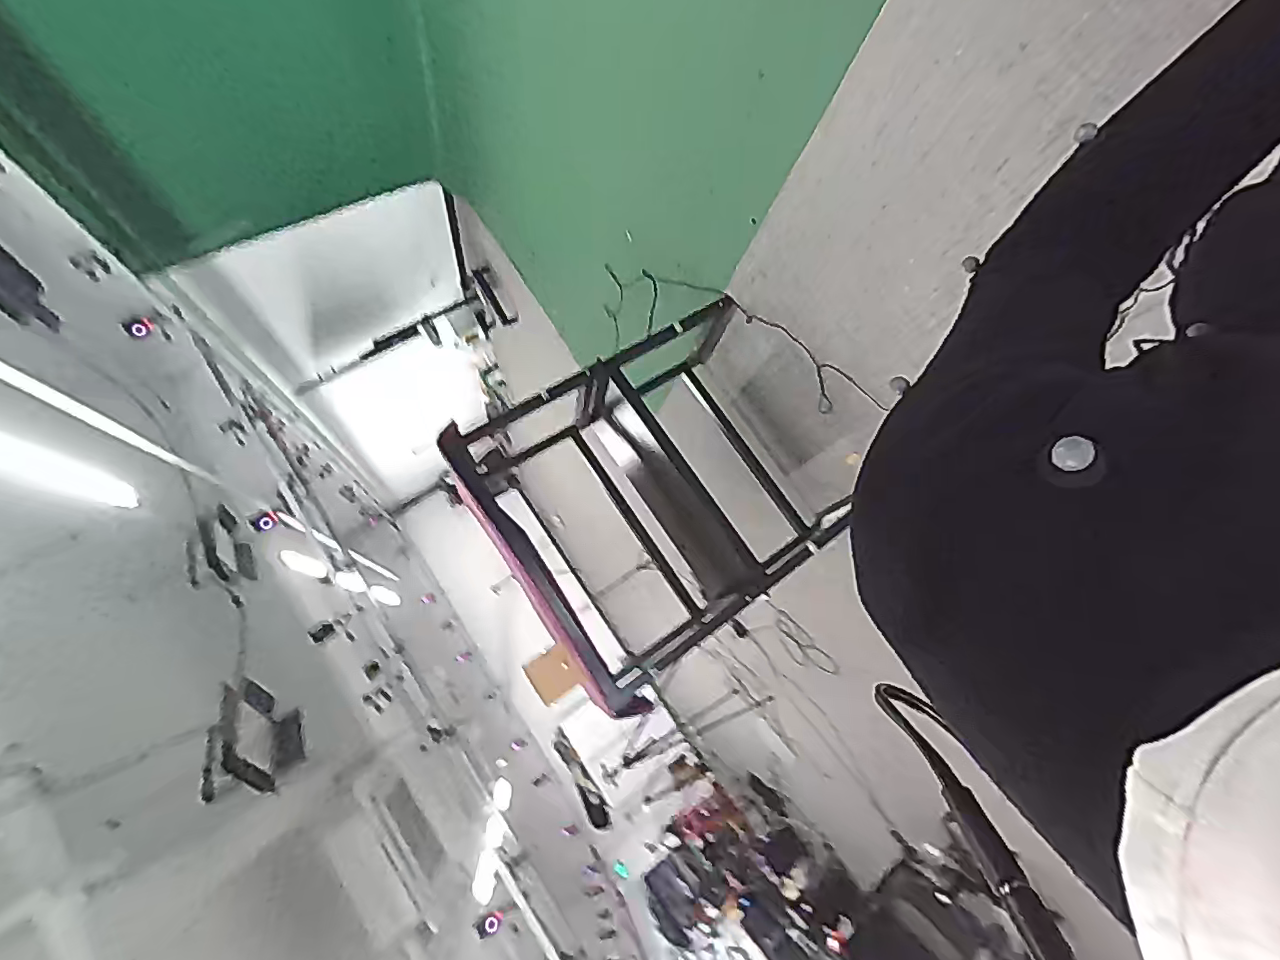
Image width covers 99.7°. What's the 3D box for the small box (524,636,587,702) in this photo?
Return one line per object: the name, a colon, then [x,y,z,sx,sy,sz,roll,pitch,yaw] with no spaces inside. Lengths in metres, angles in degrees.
small box: [-0.316,0.697,2.015,0.179,0.176,0.168,56,163,12]
